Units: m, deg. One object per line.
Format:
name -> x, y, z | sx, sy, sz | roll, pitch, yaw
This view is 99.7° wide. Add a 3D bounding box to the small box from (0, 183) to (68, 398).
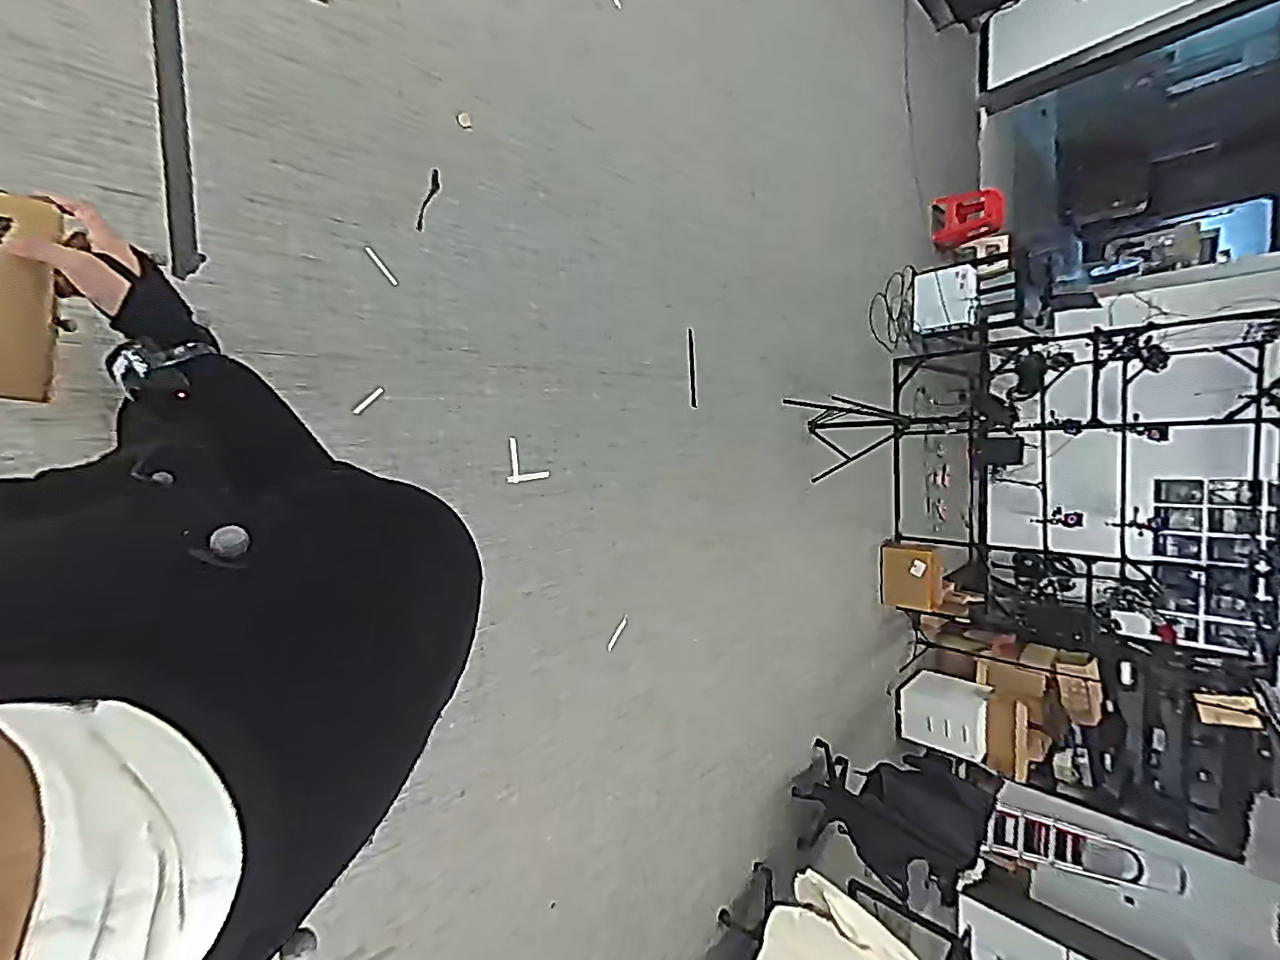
small box -> -0.632, -0.173, 0.477 | 0.168, 0.176, 0.179 | 5, 92, -46
